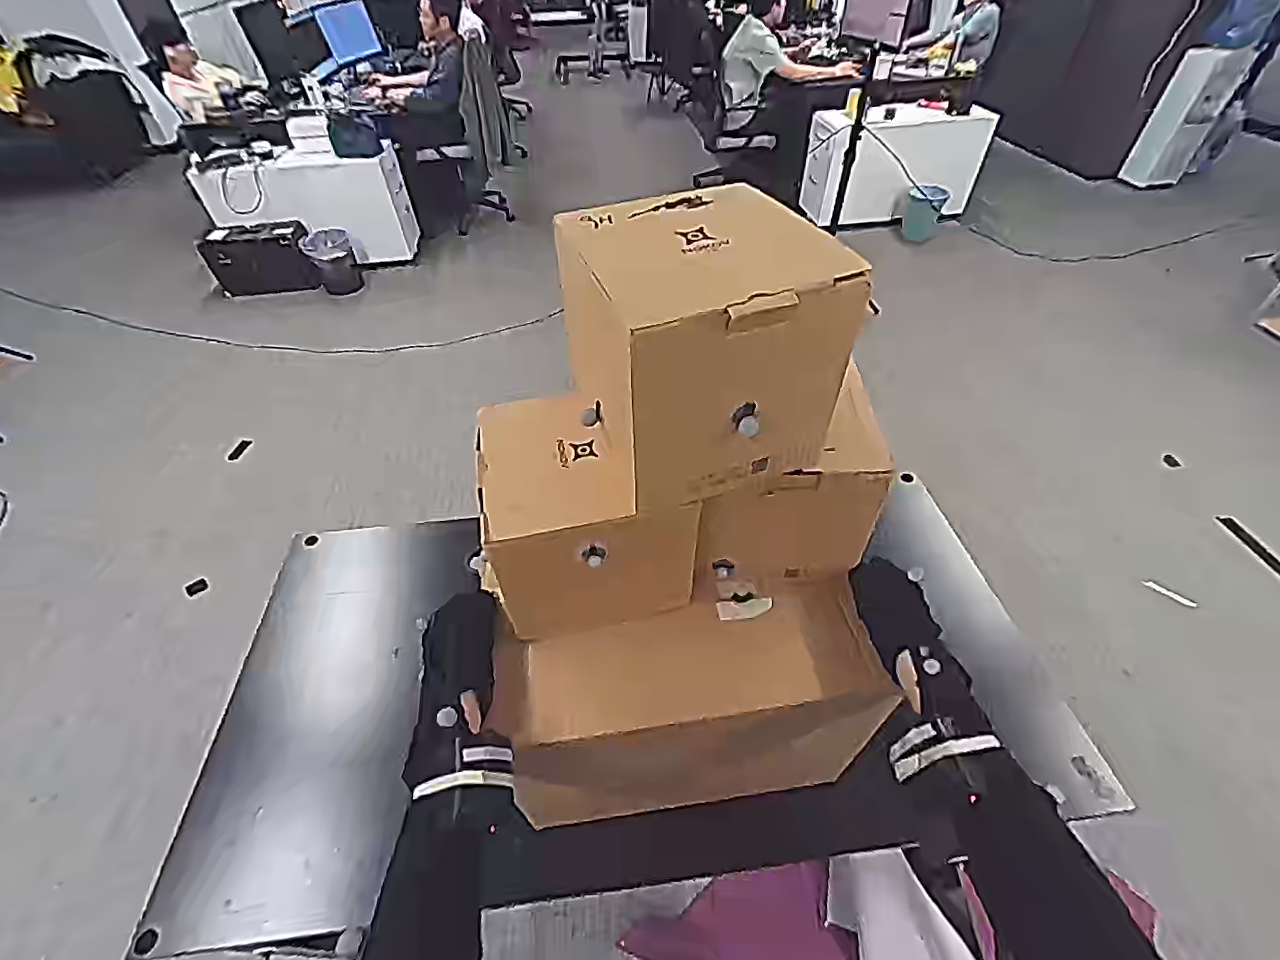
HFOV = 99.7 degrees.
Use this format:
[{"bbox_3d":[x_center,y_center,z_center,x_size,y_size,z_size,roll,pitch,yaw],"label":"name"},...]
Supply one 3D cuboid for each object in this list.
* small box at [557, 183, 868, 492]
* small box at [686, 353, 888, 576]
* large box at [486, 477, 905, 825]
[{"bbox_3d":[0.043,-0.110,0.435,0.168,0.176,0.179,-16,49,-13],"label":"small box"},{"bbox_3d":[0.135,-0.015,0.567,0.168,0.176,0.179,1,45,4],"label":"small box"},{"bbox_3d":[0.036,0.203,0.699,0.408,0.320,0.320,-7,47,-6],"label":"large box"}]
